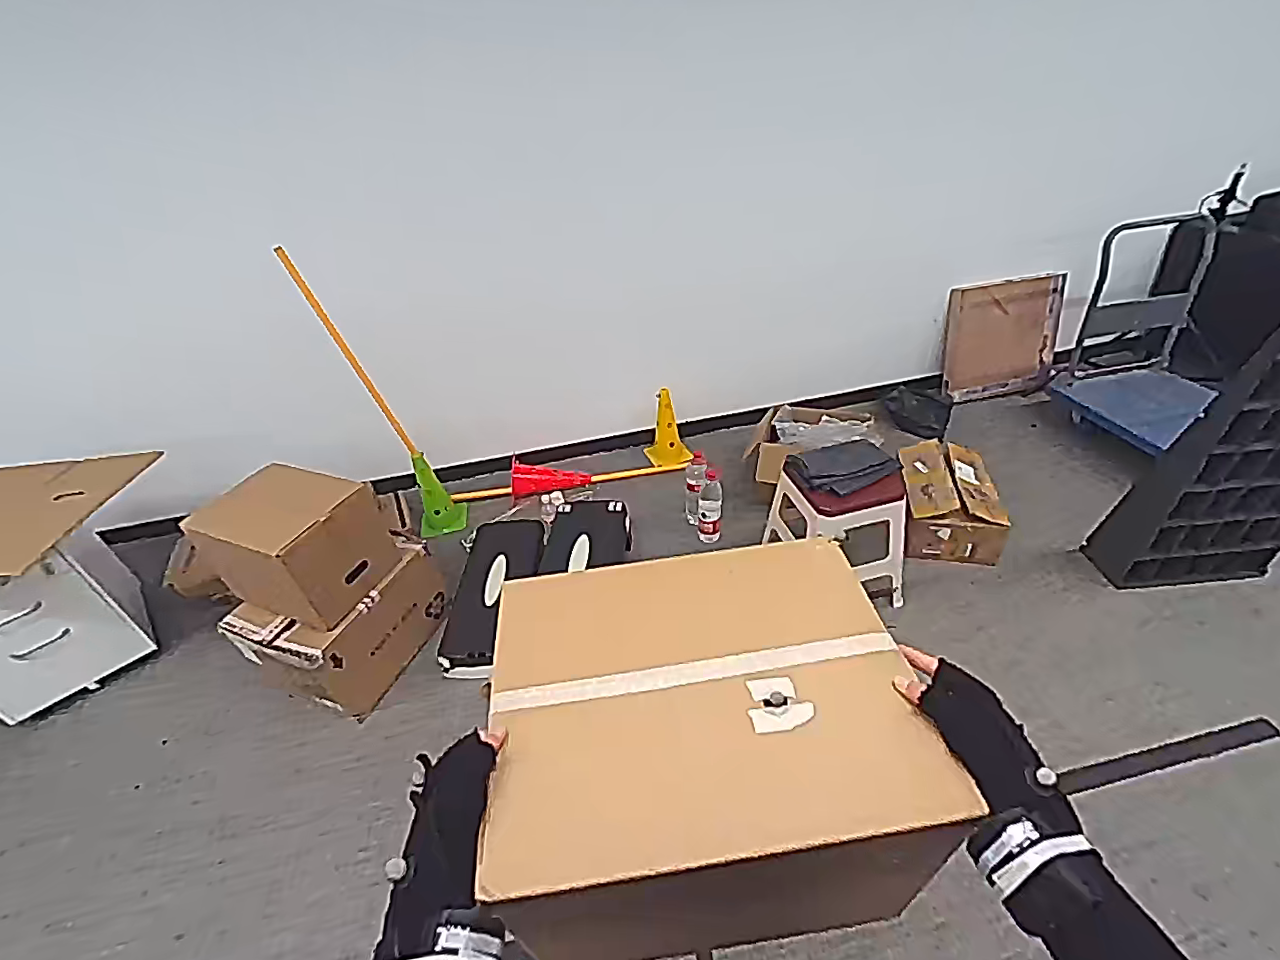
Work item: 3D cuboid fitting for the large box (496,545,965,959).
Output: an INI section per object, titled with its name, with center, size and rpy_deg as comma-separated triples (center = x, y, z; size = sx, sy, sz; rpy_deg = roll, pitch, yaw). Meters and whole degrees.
[large box]
center = 0.068, 0.319, 0.646
size = 0.408, 0.320, 0.320
rpy_deg = -8, 40, -3
